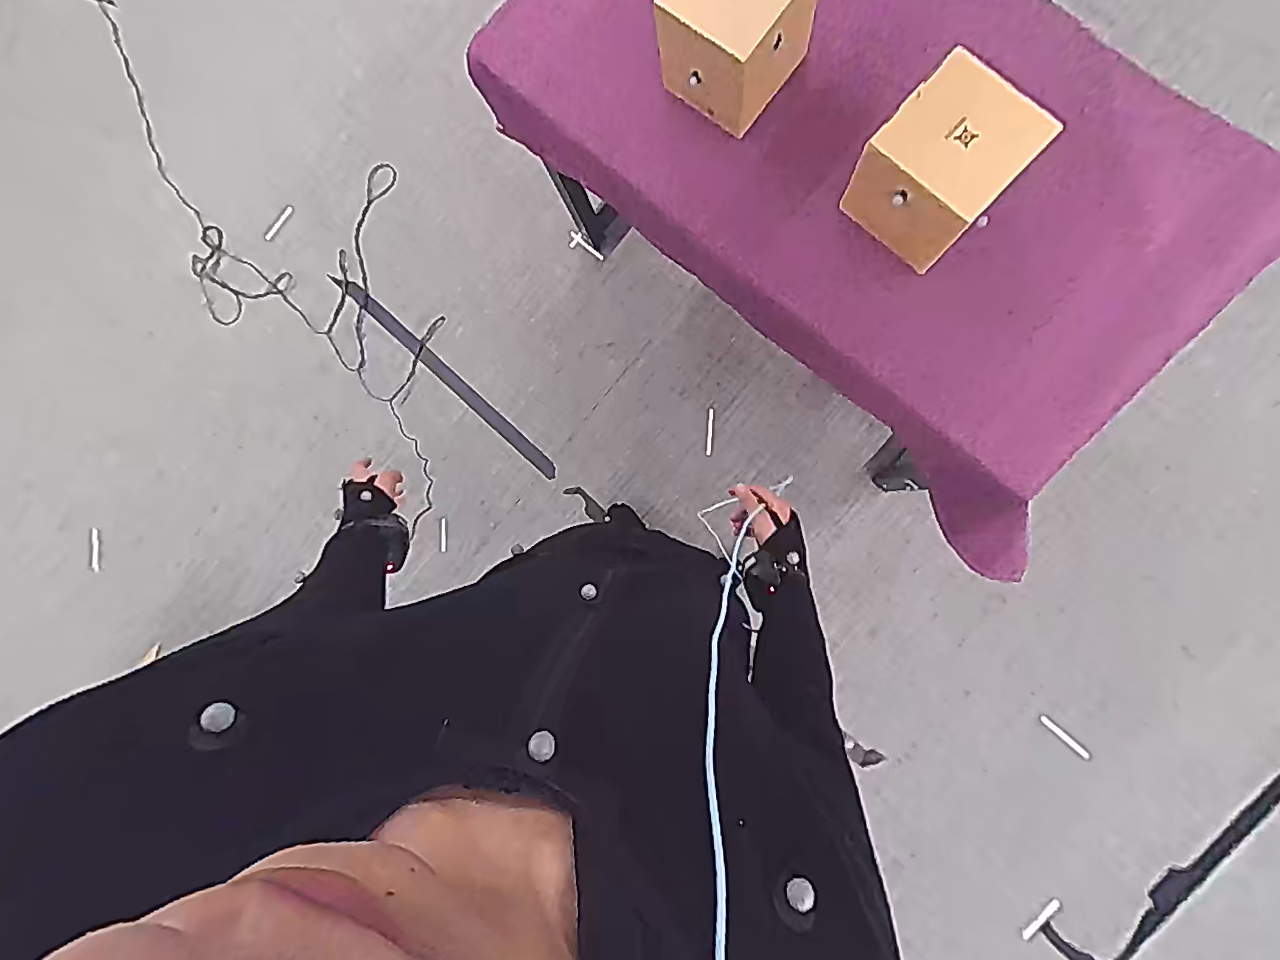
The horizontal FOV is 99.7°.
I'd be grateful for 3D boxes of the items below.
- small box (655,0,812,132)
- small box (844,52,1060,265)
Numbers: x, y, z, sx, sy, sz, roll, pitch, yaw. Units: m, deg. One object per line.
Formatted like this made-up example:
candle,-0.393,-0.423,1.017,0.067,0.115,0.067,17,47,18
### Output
small box,0.147,-0.684,0.820,0.168,0.176,0.179,40,94,6
small box,0.429,-0.440,0.778,0.179,0.176,0.168,44,95,7
